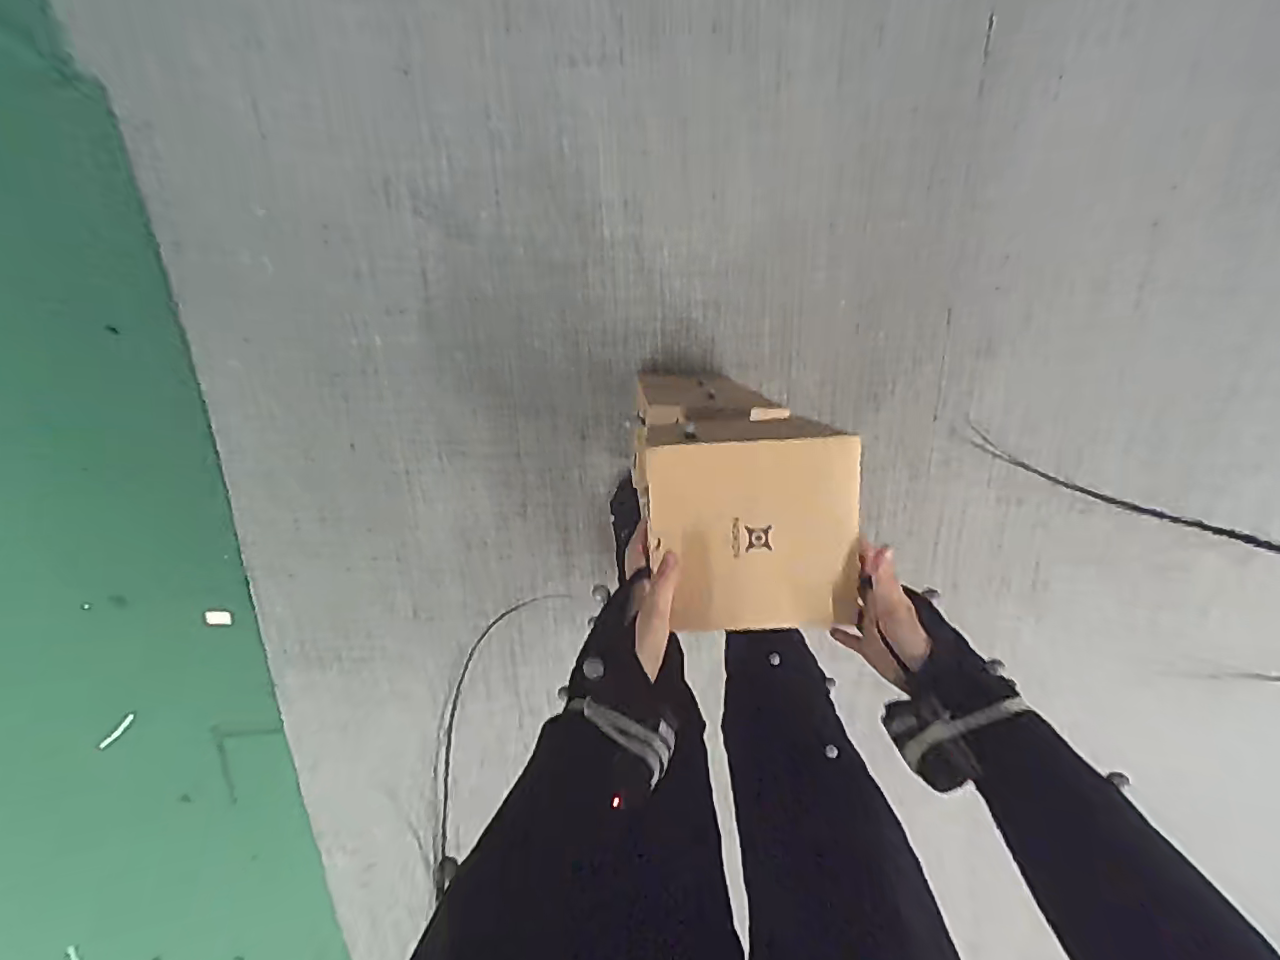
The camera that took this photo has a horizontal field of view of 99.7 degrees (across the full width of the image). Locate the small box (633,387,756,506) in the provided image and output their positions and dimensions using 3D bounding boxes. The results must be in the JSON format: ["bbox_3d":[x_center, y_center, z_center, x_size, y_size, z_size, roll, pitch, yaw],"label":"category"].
[{"bbox_3d":[0.083,-0.063,0.918,0.179,0.176,0.168,3,106,-3],"label":"small box"}]
